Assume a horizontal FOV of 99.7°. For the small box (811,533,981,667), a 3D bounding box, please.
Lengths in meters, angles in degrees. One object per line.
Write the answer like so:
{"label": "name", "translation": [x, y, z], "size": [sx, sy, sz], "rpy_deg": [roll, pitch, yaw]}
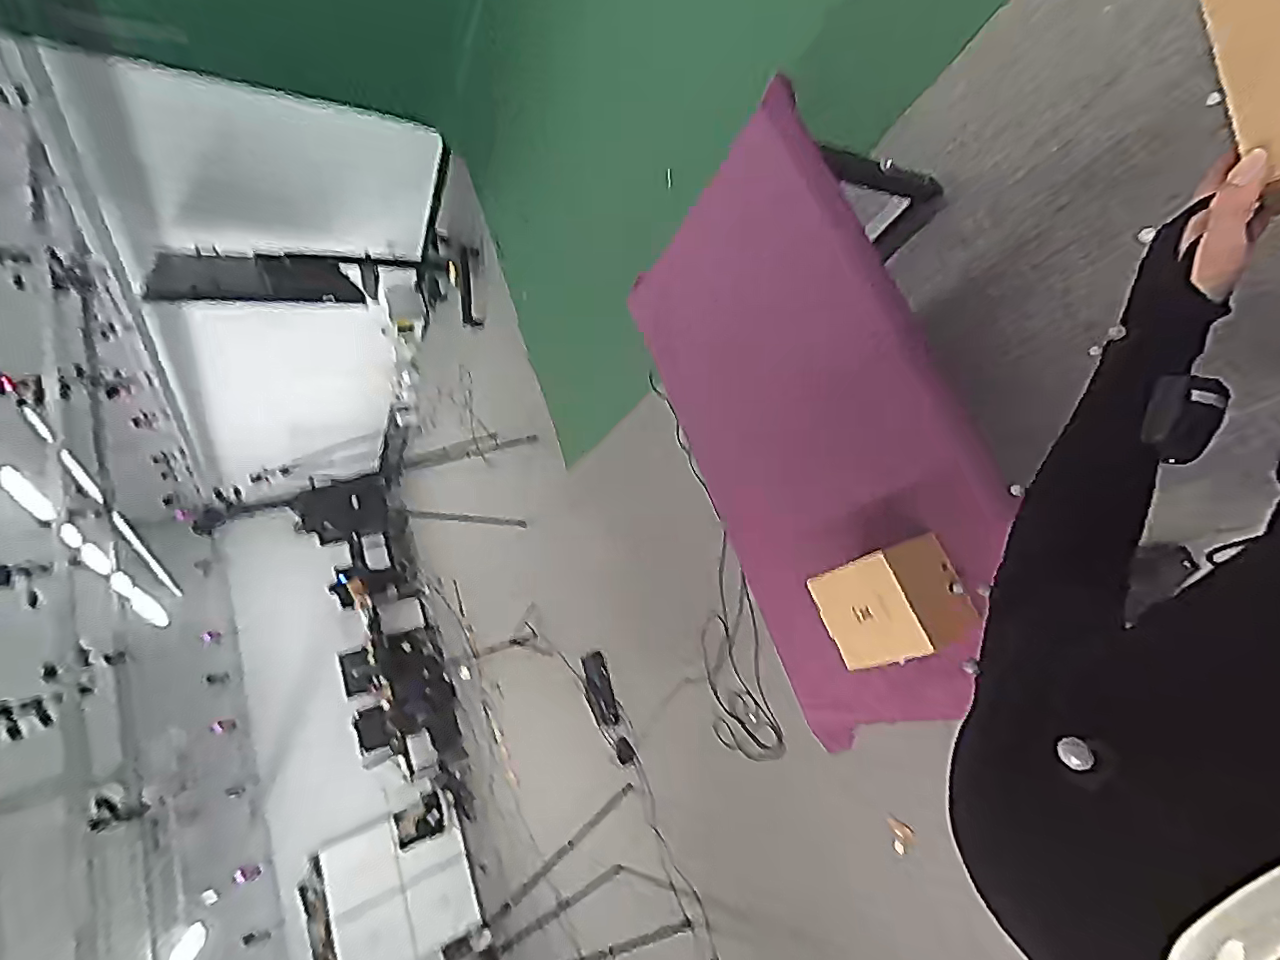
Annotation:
{"label": "small box", "translation": [0.444, 0.208, 0.945], "size": [0.179, 0.176, 0.168], "rpy_deg": [-44, 63, 51]}
